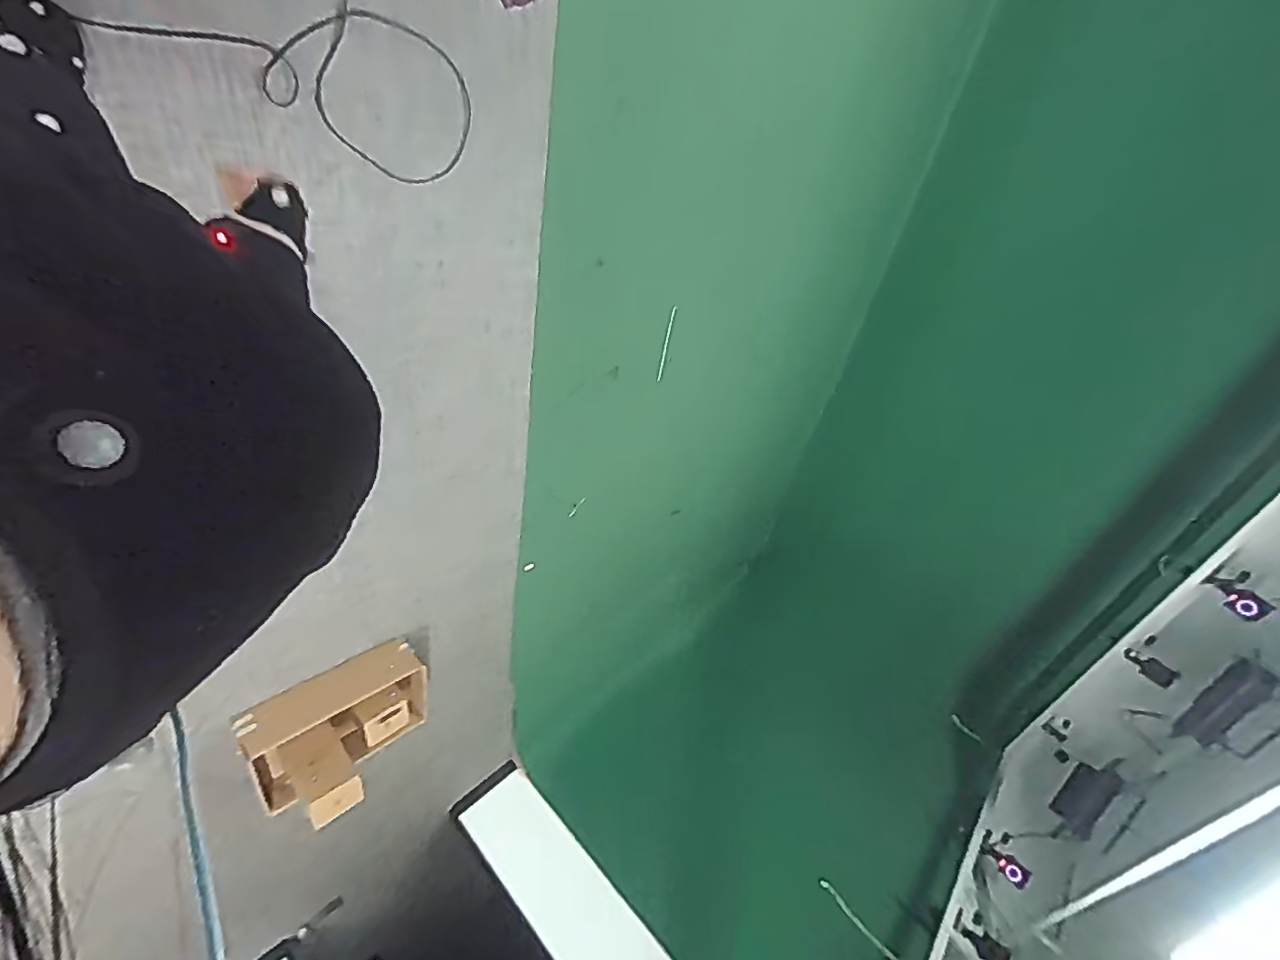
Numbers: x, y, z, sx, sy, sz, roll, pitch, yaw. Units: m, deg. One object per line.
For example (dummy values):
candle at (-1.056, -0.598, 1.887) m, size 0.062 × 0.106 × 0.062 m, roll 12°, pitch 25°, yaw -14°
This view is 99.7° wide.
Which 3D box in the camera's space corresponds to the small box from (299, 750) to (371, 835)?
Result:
small box at (-1.083, 1.097, 1.919) m, size 0.168 × 0.176 × 0.179 m, roll -23°, pitch 136°, yaw -43°

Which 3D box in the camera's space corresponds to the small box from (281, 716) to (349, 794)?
small box at (-1.198, 1.022, 2.005) m, size 0.168 × 0.176 × 0.179 m, roll -25°, pitch 137°, yaw -44°
